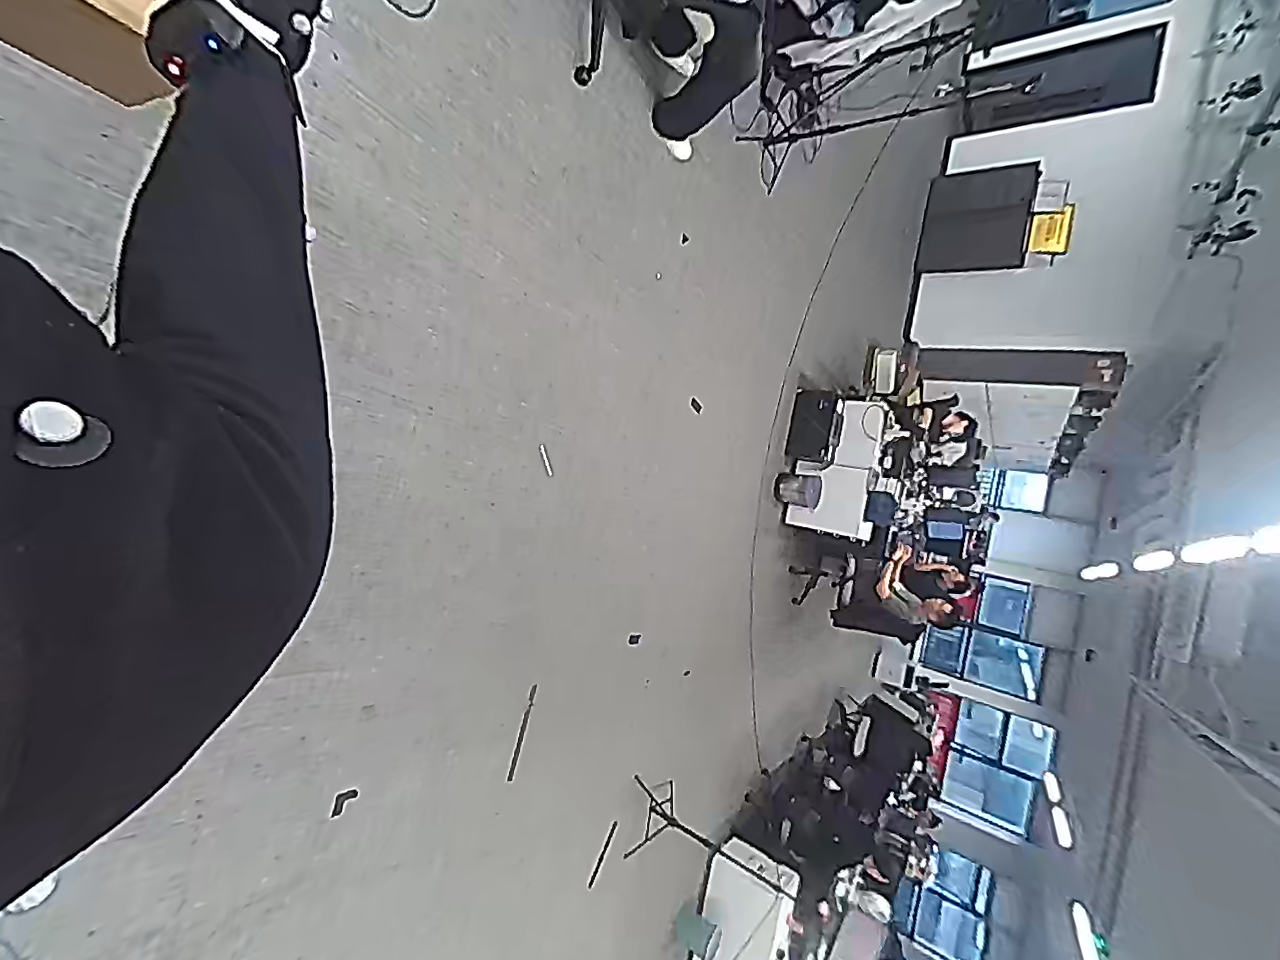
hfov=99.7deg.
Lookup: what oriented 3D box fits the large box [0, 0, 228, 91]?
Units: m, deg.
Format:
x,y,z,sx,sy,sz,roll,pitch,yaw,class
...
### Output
x,y,z,sx,sy,sz,roll,pitch,yaw,class
-0.541,-0.558,0.367,0.408,0.320,0.320,12,97,-56,large box
